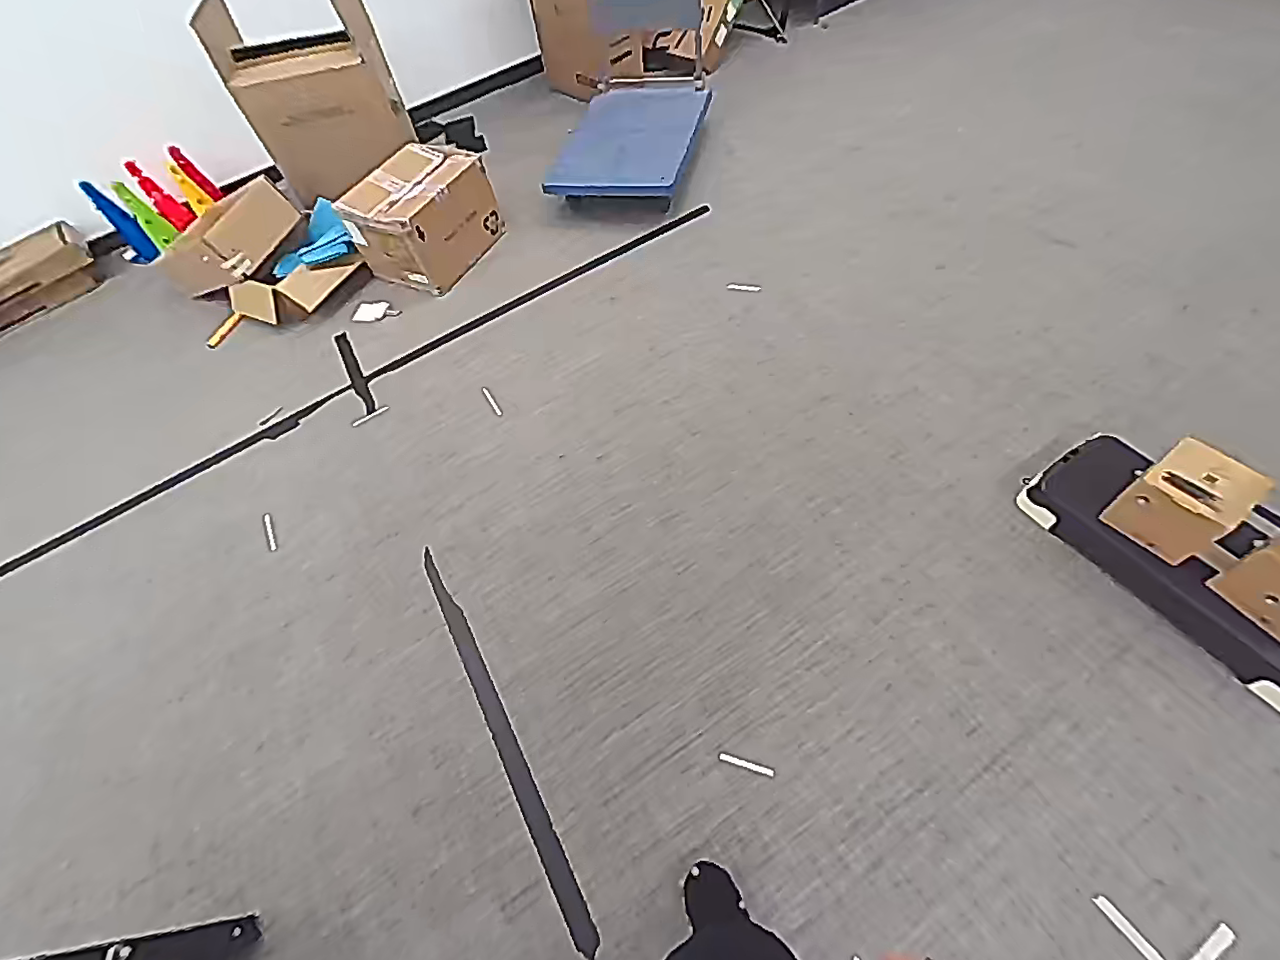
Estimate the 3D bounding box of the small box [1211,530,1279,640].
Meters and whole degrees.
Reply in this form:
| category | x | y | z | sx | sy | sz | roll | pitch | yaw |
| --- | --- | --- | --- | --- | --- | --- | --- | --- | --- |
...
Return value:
| category | x | y | z | sx | sy | sz | roll | pitch | yaw |
| --- | --- | --- | --- | --- | --- | --- | --- | --- | --- |
| small box | 1.306 | 0.193 | 1.065 | 0.179 | 0.176 | 0.168 | -28 | 57 | -9 |
